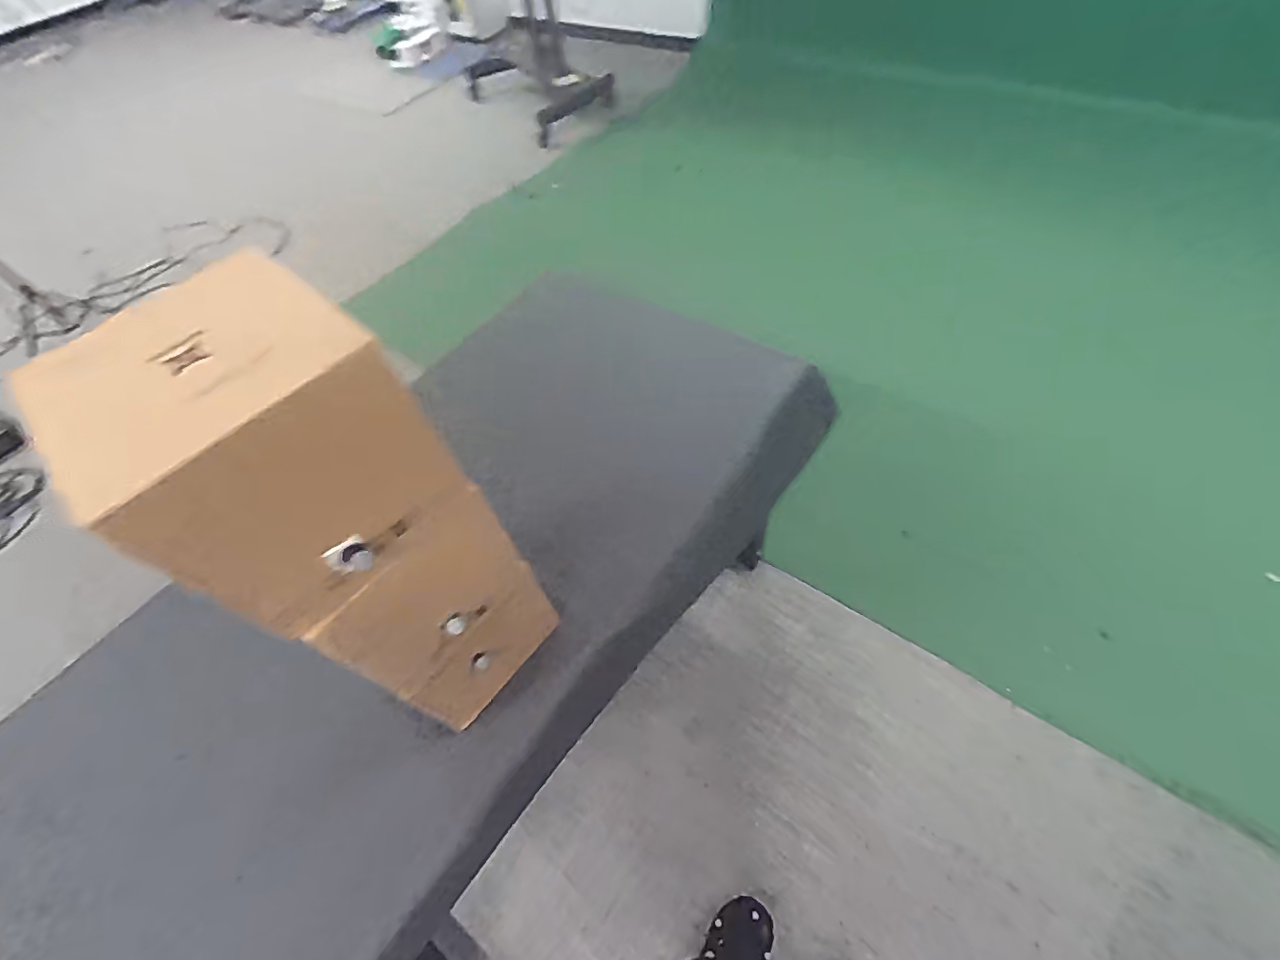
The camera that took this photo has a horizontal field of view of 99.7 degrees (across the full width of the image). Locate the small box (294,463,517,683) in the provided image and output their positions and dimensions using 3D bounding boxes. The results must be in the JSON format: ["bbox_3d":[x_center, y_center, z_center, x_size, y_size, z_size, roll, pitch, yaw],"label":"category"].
[{"bbox_3d":[-0.251,0.066,0.520,0.179,0.176,0.168,28,63,26],"label":"small box"}]

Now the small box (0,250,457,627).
[{"bbox_3d":[-0.269,-0.024,0.387,0.179,0.176,0.168,35,67,26],"label":"small box"}]

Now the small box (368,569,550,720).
[{"bbox_3d":[-0.235,0.159,0.654,0.168,0.176,0.179,31,65,25],"label":"small box"}]
